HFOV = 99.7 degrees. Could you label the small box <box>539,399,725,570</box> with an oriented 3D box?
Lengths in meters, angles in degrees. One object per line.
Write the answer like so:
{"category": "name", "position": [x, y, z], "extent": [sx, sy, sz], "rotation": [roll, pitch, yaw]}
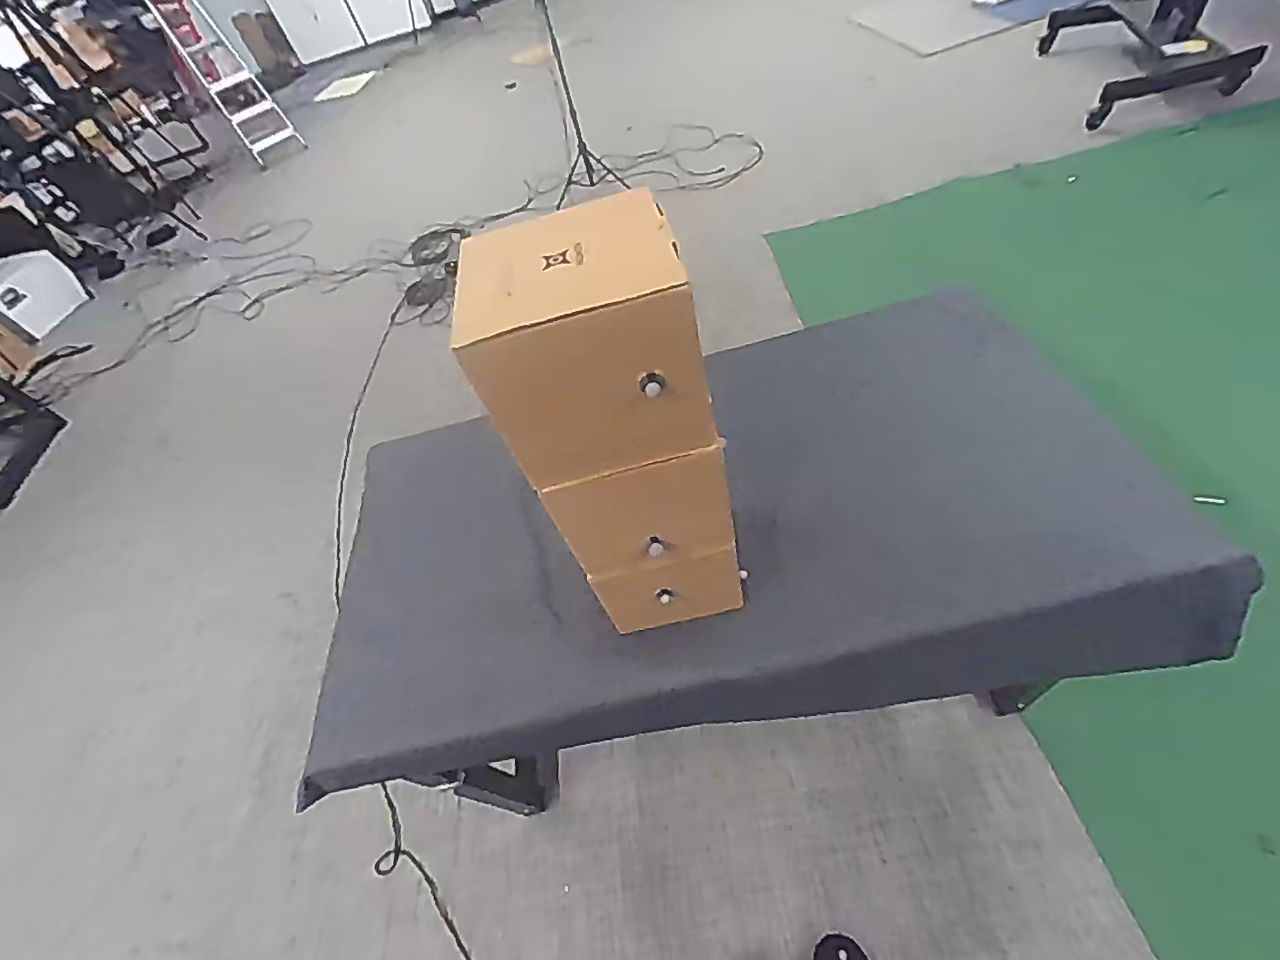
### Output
{"category": "small box", "position": [-0.005, -0.020, 0.608], "extent": [0.179, 0.176, 0.168], "rotation": [-13, 51, 4]}

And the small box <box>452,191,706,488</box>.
{"category": "small box", "position": [-0.043, -0.118, 0.485], "extent": [0.179, 0.176, 0.168], "rotation": [-15, 50, 5]}

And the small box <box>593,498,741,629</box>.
{"category": "small box", "position": [0.031, 0.080, 0.732], "extent": [0.179, 0.176, 0.168], "rotation": [-15, 51, 2]}
